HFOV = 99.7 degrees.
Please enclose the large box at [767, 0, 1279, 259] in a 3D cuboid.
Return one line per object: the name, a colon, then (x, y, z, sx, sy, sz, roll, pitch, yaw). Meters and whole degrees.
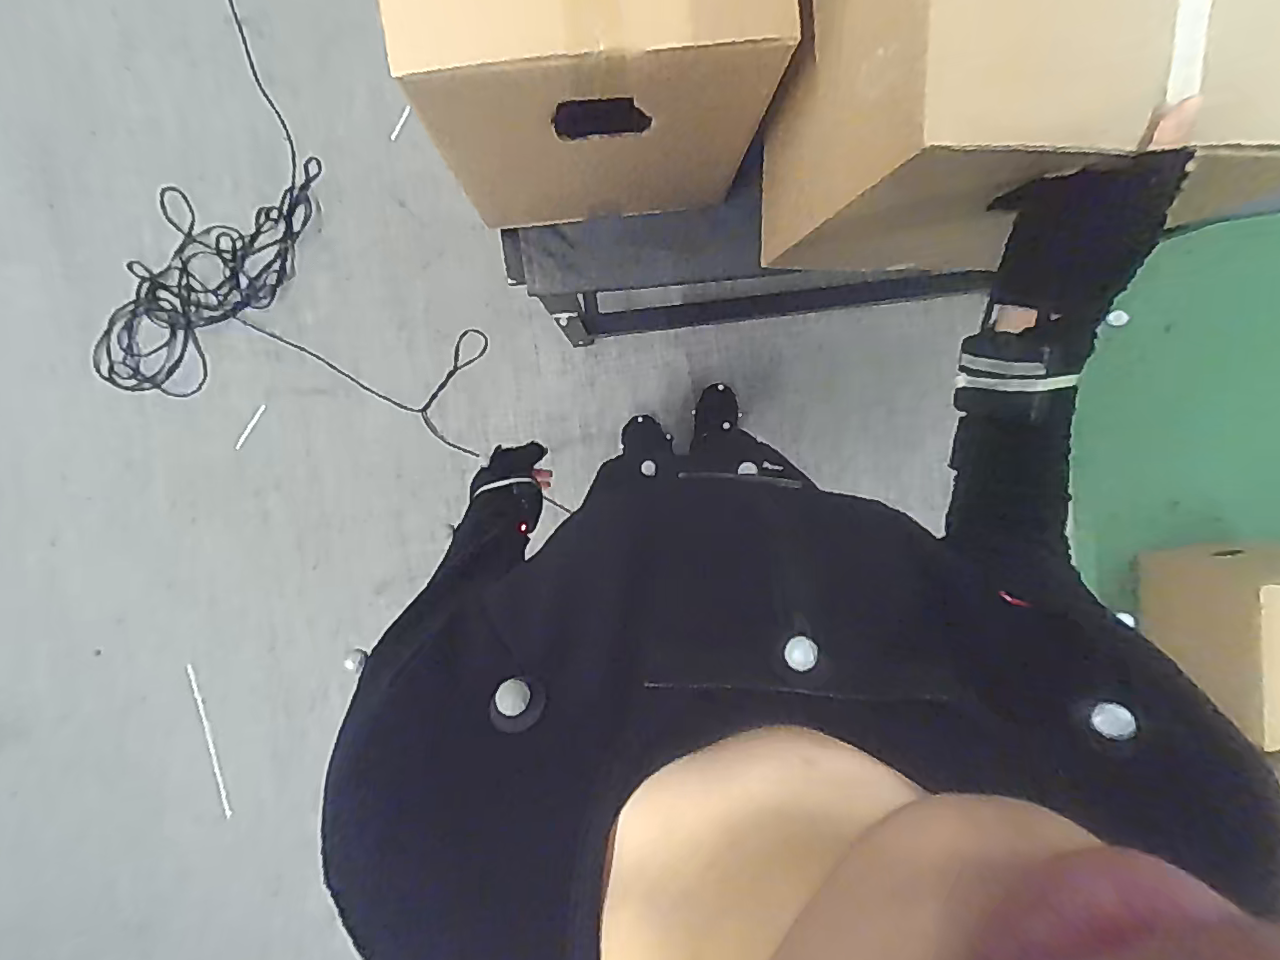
large box: (0.300, -0.427, 0.448, 0.320, 0.320, 0.408, -2, 100, -4)
